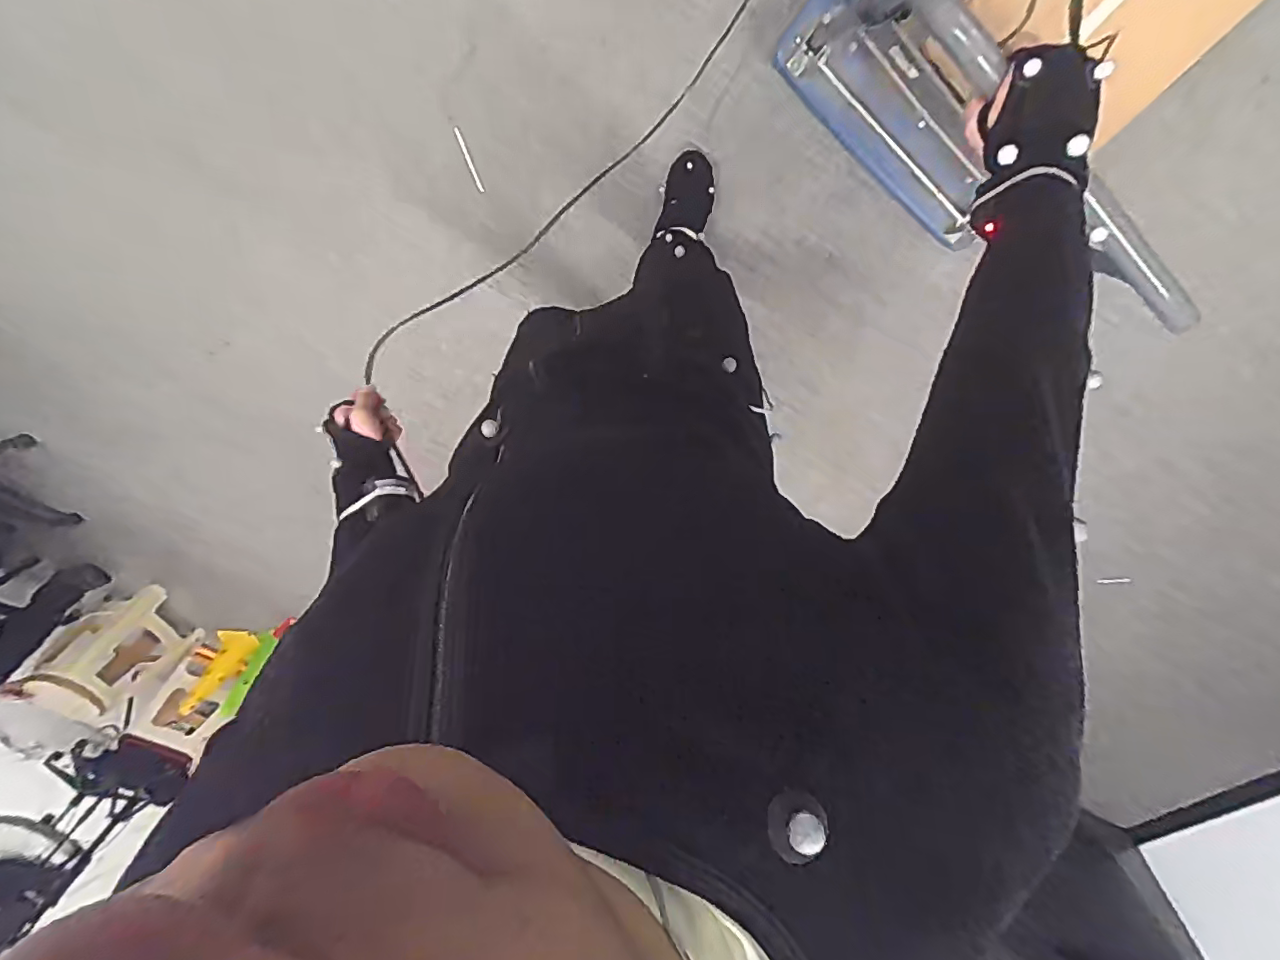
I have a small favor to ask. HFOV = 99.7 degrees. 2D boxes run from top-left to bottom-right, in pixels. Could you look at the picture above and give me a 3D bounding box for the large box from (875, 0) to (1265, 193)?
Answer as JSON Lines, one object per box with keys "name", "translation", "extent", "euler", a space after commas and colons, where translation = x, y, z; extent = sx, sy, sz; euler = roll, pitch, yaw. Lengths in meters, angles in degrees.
{"name": "large box", "translation": [0.656, -0.732, 0.834], "extent": [0.320, 0.320, 0.408], "euler": [35, 120, -16]}
